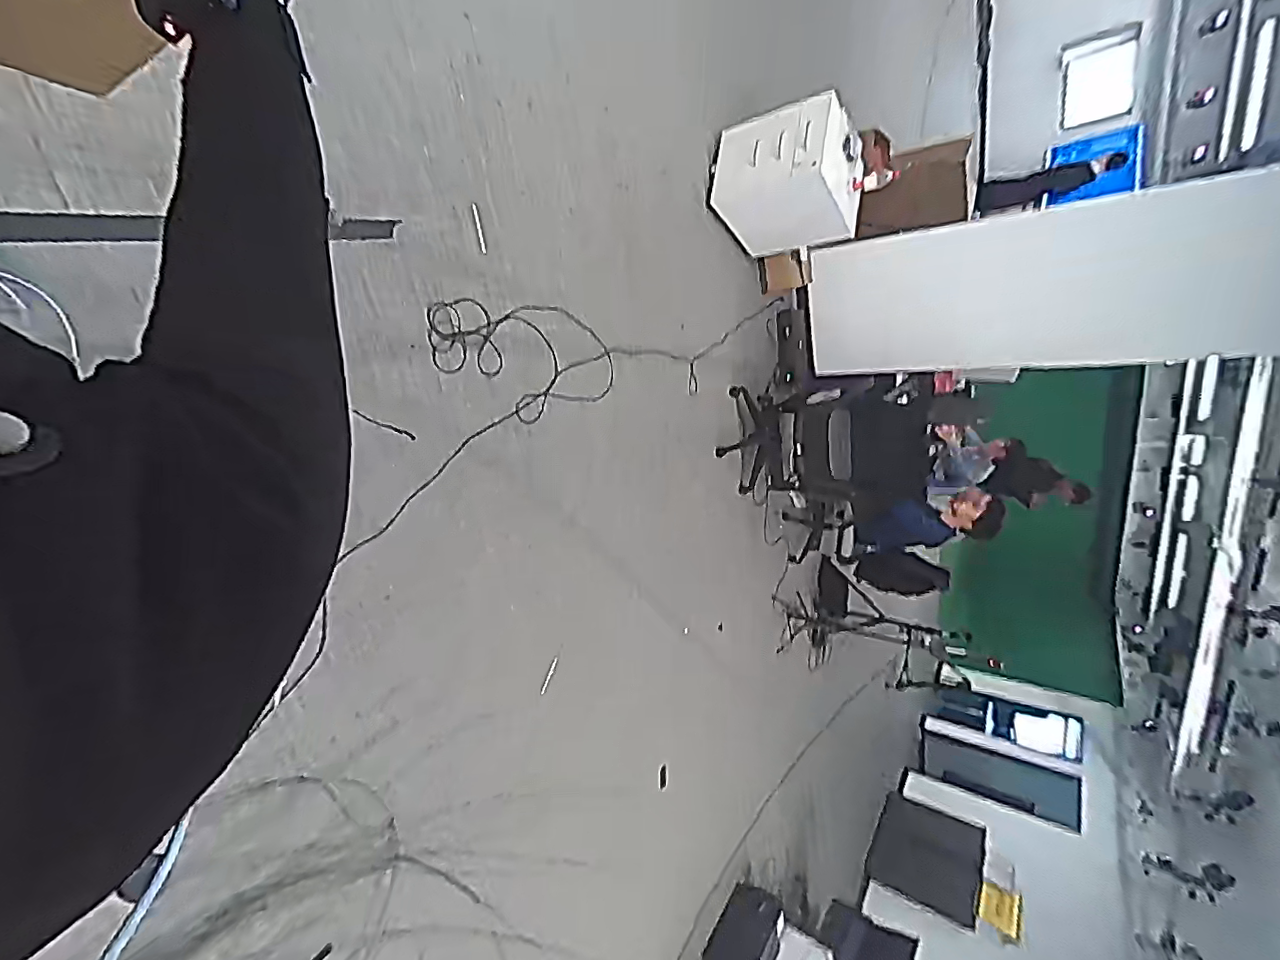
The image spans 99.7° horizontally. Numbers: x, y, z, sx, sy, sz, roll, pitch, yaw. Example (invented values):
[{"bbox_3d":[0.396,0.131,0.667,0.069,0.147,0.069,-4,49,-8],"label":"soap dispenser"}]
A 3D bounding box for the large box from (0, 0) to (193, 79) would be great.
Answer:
[{"bbox_3d":[-0.562,-0.522,0.311,0.408,0.320,0.320,-12,111,-55],"label":"large box"}]
